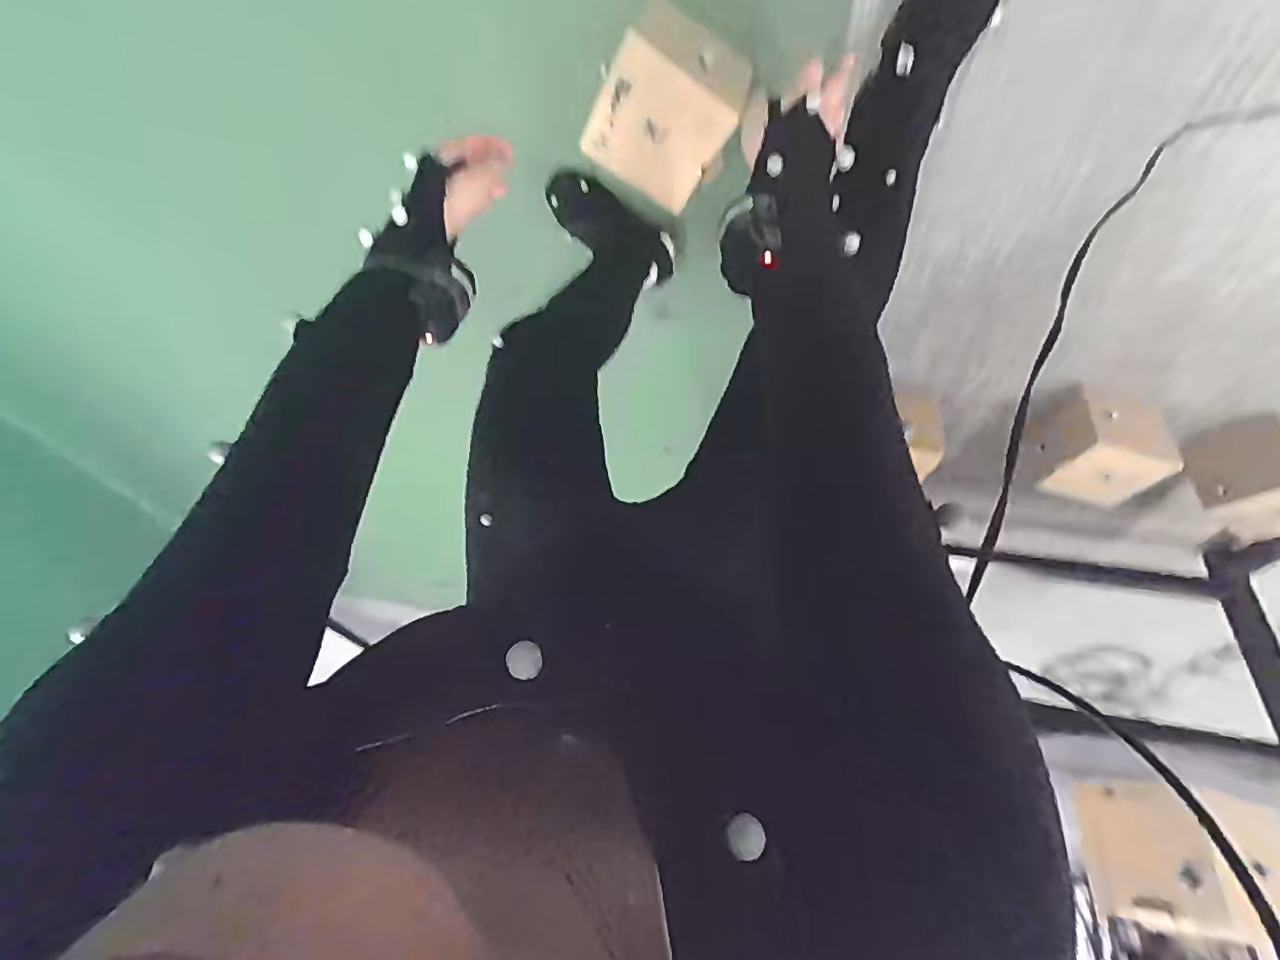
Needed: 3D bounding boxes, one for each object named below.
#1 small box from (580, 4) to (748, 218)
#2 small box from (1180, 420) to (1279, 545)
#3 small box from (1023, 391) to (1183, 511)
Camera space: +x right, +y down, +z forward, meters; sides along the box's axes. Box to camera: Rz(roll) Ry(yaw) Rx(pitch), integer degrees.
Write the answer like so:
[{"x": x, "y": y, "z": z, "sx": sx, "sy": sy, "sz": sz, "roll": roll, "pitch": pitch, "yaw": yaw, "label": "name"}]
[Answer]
[{"x": 0.040, "y": -0.536, "z": 0.789, "sx": 0.179, "sy": 0.176, "sz": 0.168, "roll": 26, "pitch": 144, "yaw": -18, "label": "small box"}, {"x": 1.285, "y": 0.005, "z": 1.116, "sx": 0.168, "sy": 0.176, "sz": 0.179, "roll": 25, "pitch": 144, "yaw": -16, "label": "small box"}, {"x": 0.952, "y": -0.063, "z": 1.135, "sx": 0.179, "sy": 0.176, "sz": 0.168, "roll": 13, "pitch": 146, "yaw": -2, "label": "small box"}]
